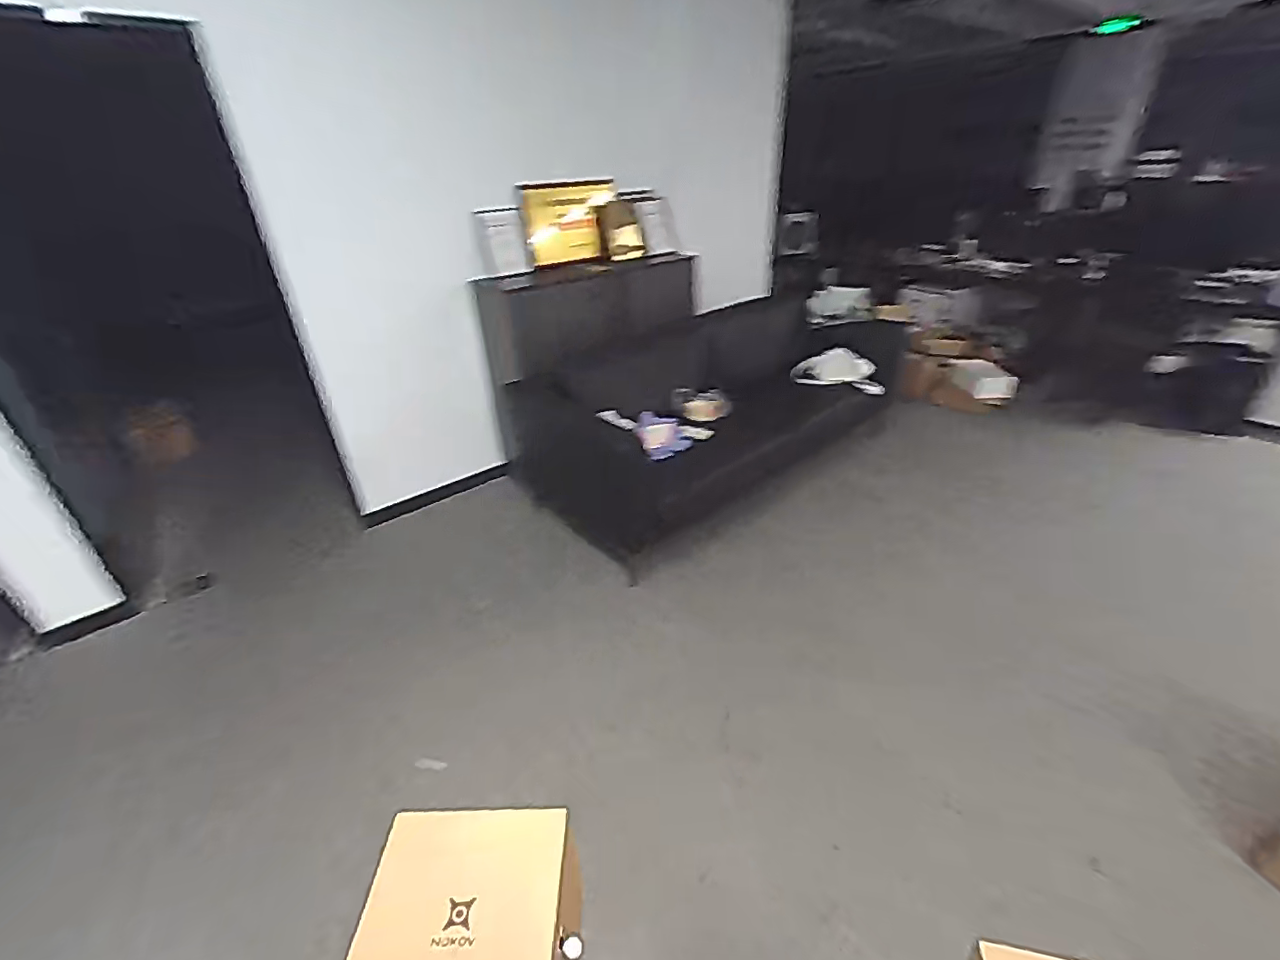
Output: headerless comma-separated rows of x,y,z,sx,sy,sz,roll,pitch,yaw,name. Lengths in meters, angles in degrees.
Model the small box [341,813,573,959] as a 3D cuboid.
-0.153,0.433,0.485,0.168,0.176,0.179,-2,34,0,small box
